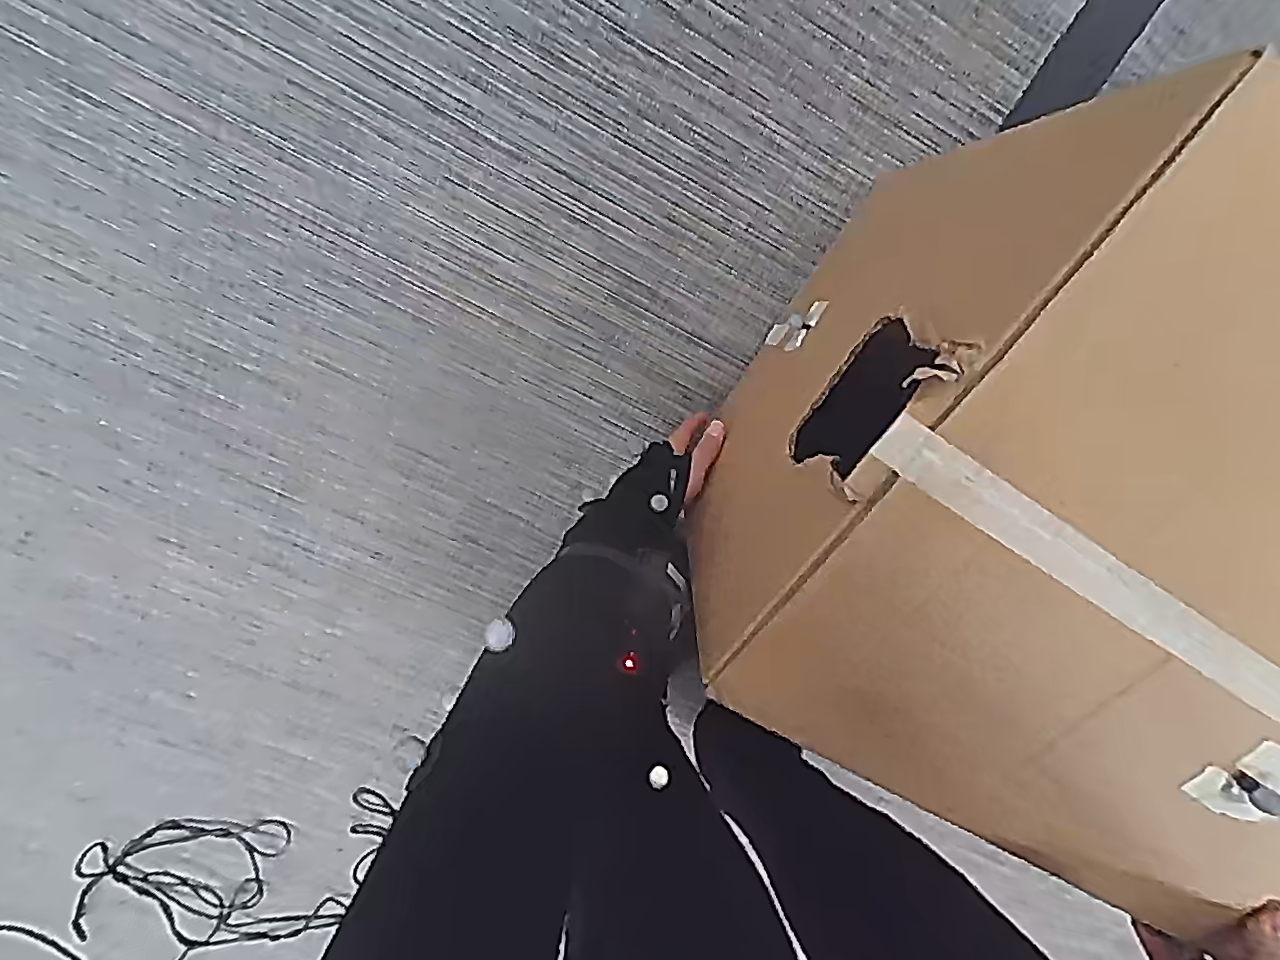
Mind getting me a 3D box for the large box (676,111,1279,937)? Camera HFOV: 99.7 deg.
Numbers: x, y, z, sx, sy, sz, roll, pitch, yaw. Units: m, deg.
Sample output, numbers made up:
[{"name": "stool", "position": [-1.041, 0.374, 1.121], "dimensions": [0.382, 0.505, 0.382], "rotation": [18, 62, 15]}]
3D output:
[{"name": "large box", "position": [0.279, 0.029, 0.403], "dimensions": [0.408, 0.320, 0.320], "rotation": [30, 110, -11]}]
